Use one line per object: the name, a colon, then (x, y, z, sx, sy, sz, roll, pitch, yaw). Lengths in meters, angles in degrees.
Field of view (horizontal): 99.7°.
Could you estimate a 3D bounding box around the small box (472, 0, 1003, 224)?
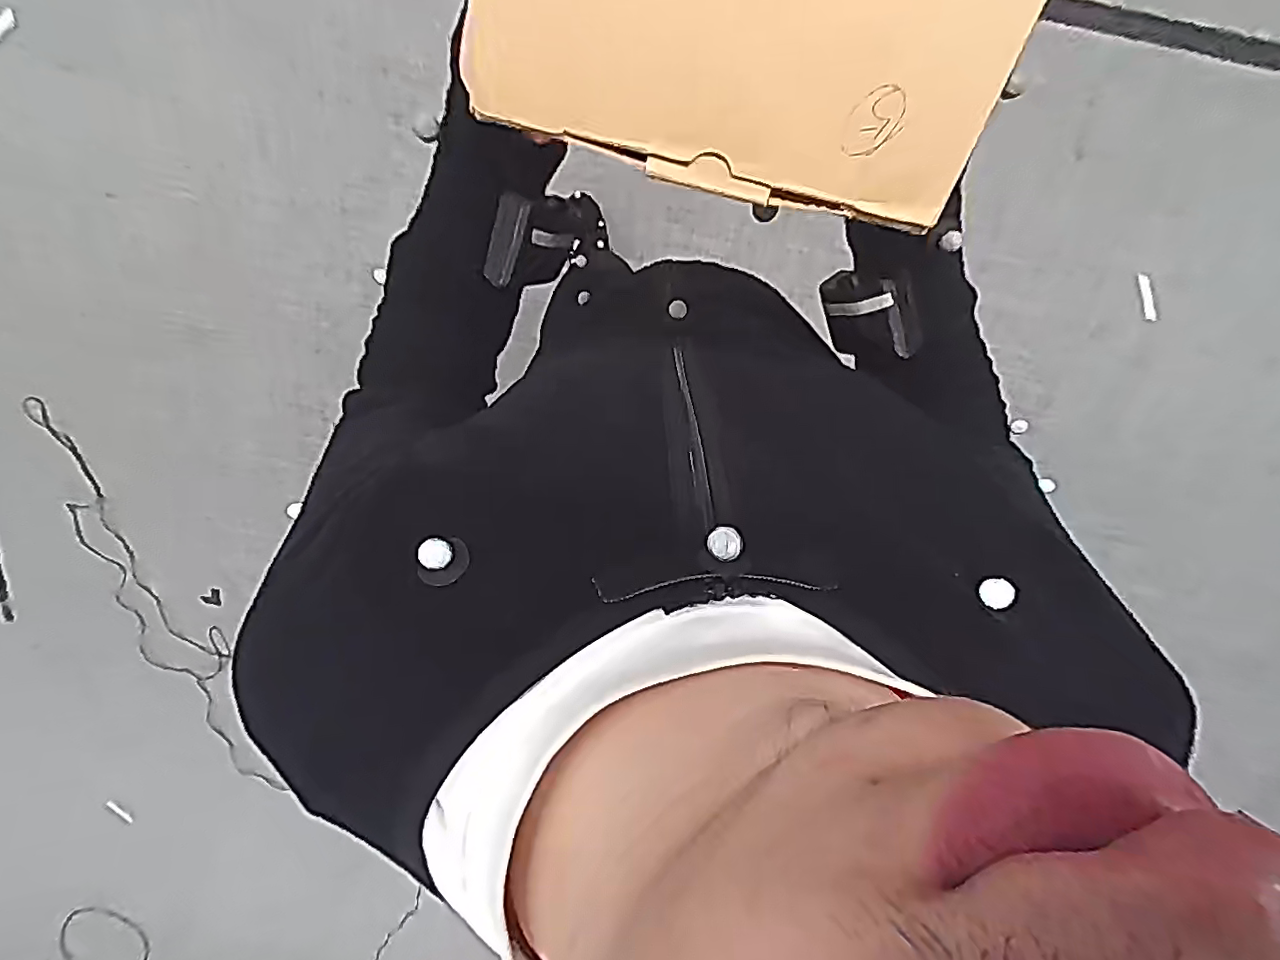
small box: (0.042, -0.226, 0.217, 0.168, 0.176, 0.179, 11, 122, -6)
